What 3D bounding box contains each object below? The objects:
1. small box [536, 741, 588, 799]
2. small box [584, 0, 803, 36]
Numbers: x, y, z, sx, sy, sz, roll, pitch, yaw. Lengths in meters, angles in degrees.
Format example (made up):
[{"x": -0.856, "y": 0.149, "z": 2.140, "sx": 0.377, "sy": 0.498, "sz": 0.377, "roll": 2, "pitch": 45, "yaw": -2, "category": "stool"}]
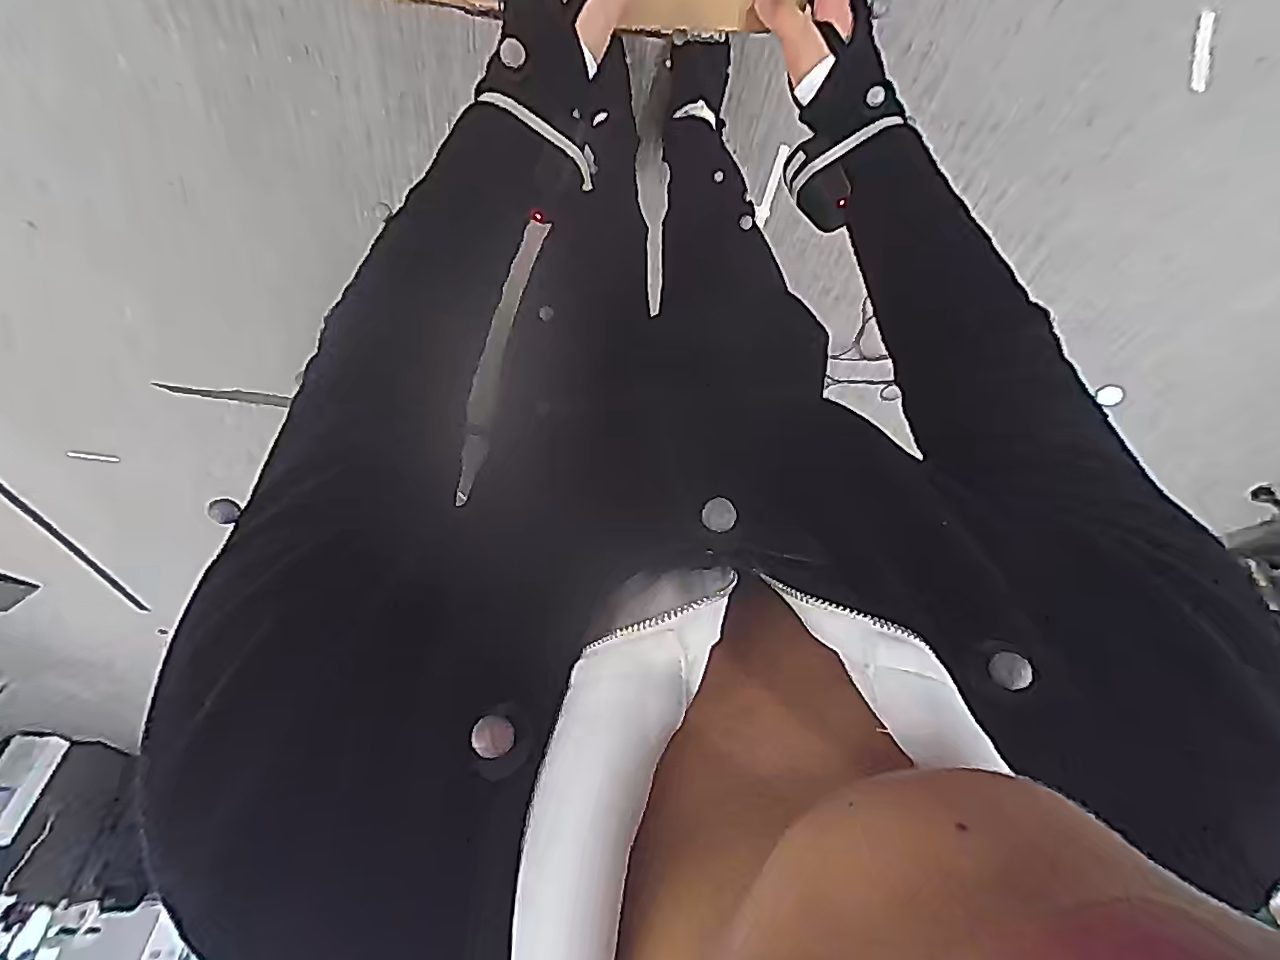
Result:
[{"x": -0.289, "y": 1.081, "z": 2.018, "sx": 0.179, "sy": 0.176, "sz": 0.168, "roll": 7, "pitch": 141, "yaw": -10, "category": "small box"}, {"x": 0.044, "y": -0.480, "z": 0.440, "sx": 0.179, "sy": 0.176, "sz": 0.168, "roll": 1, "pitch": 134, "yaw": -1, "category": "small box"}]
